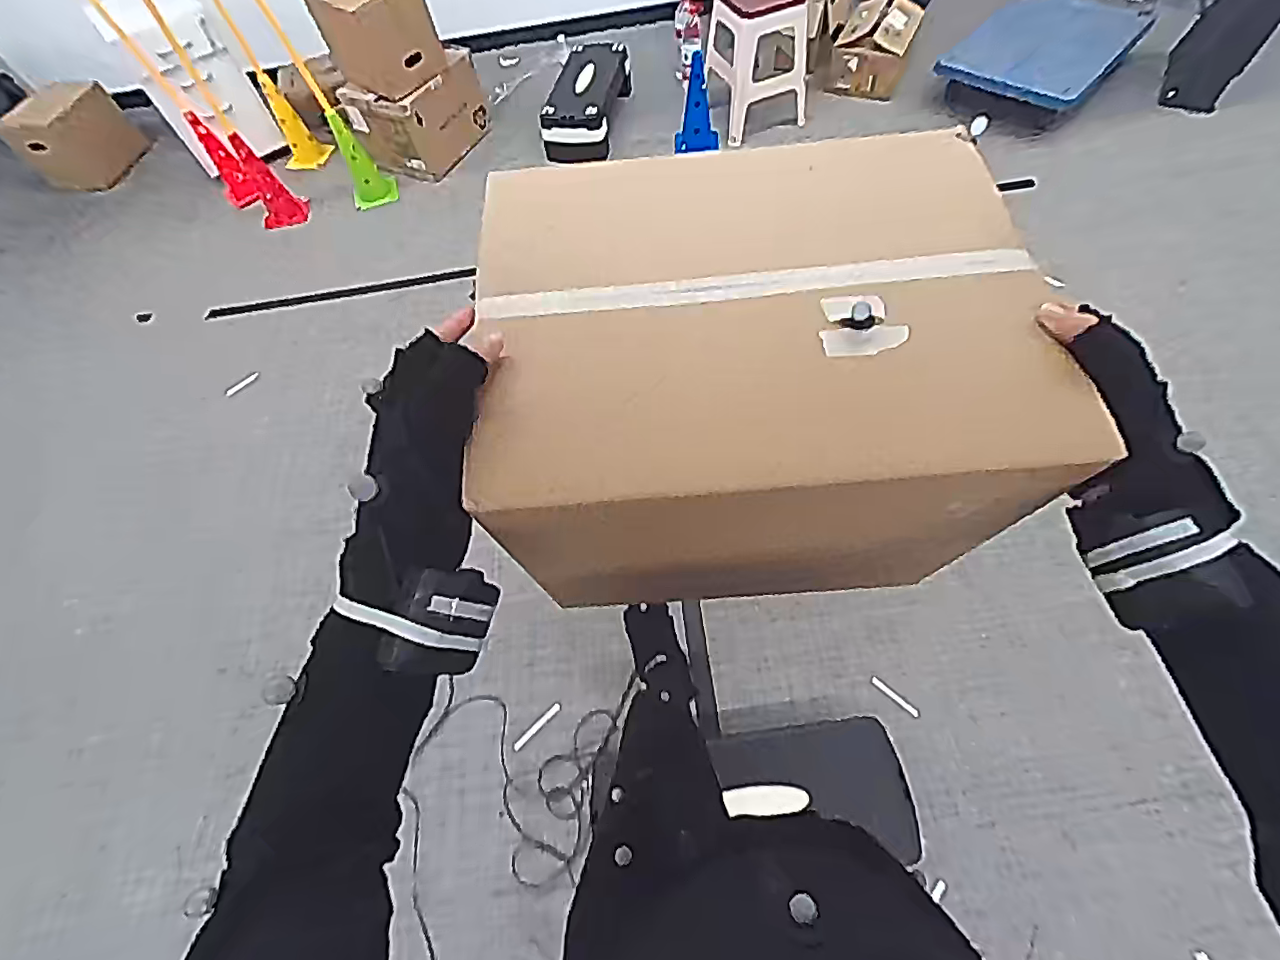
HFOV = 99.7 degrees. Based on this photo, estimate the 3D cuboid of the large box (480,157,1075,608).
[{"bbox_3d":[0.085,-0.070,0.553,0.408,0.320,0.320,-5,65,1],"label":"large box"}]
